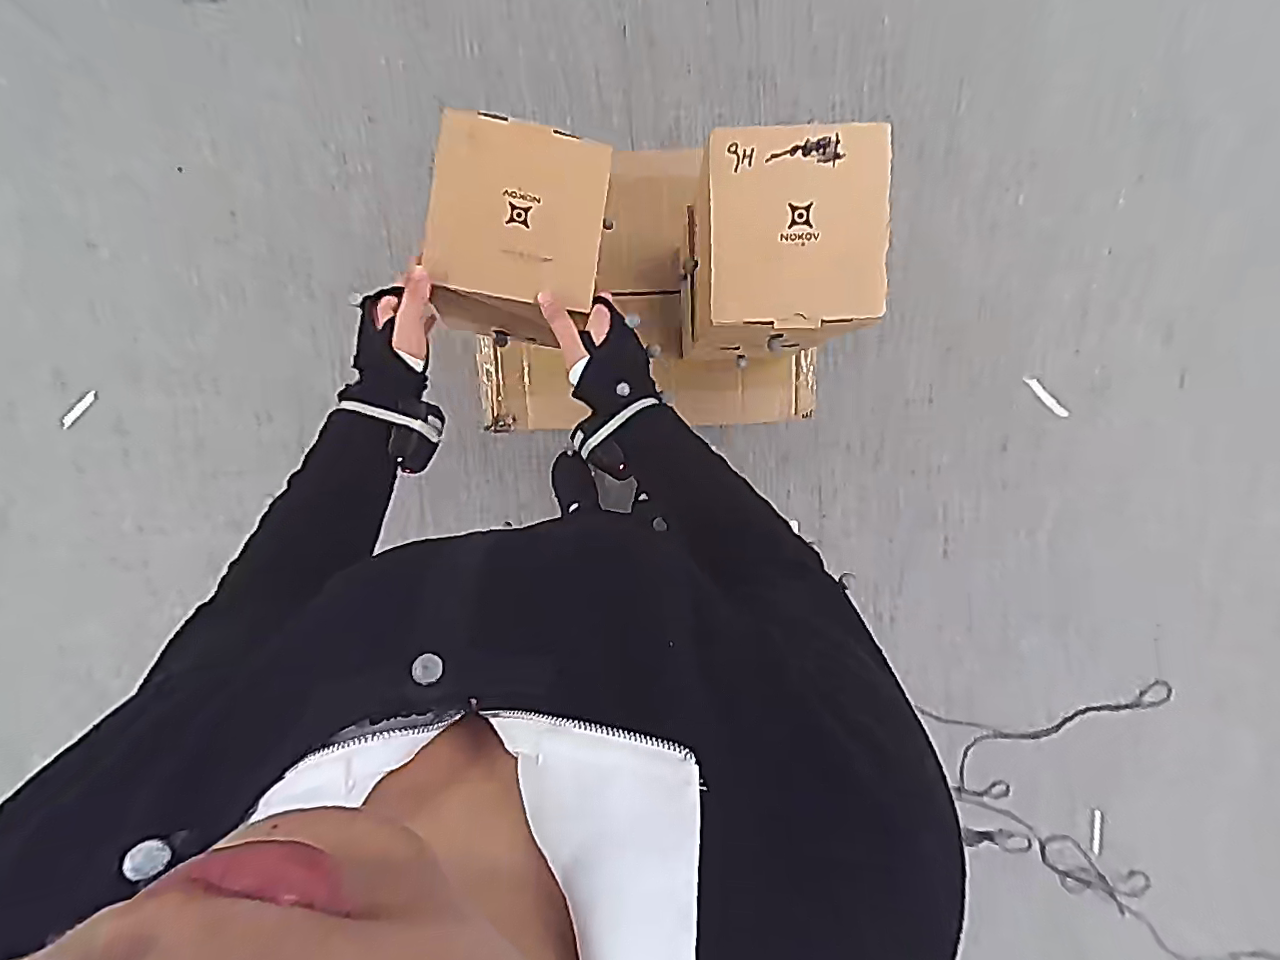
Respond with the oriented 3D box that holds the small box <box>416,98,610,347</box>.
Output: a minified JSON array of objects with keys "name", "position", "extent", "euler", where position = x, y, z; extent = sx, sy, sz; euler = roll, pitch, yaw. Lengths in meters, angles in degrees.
[{"name":"small box","position":[-0.134,-0.262,0.594],"extent":[0.168,0.176,0.179],"euler":[6,89,-10]}]

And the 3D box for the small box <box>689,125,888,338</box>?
[{"name":"small box","position":[0.143,-0.248,0.581],"extent":[0.168,0.176,0.179],"euler":[-1,98,0]}]

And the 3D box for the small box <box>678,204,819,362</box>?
[{"name":"small box","position":[0.141,-0.262,0.746],"extent":[0.168,0.176,0.179],"euler":[-2,98,1]}]
